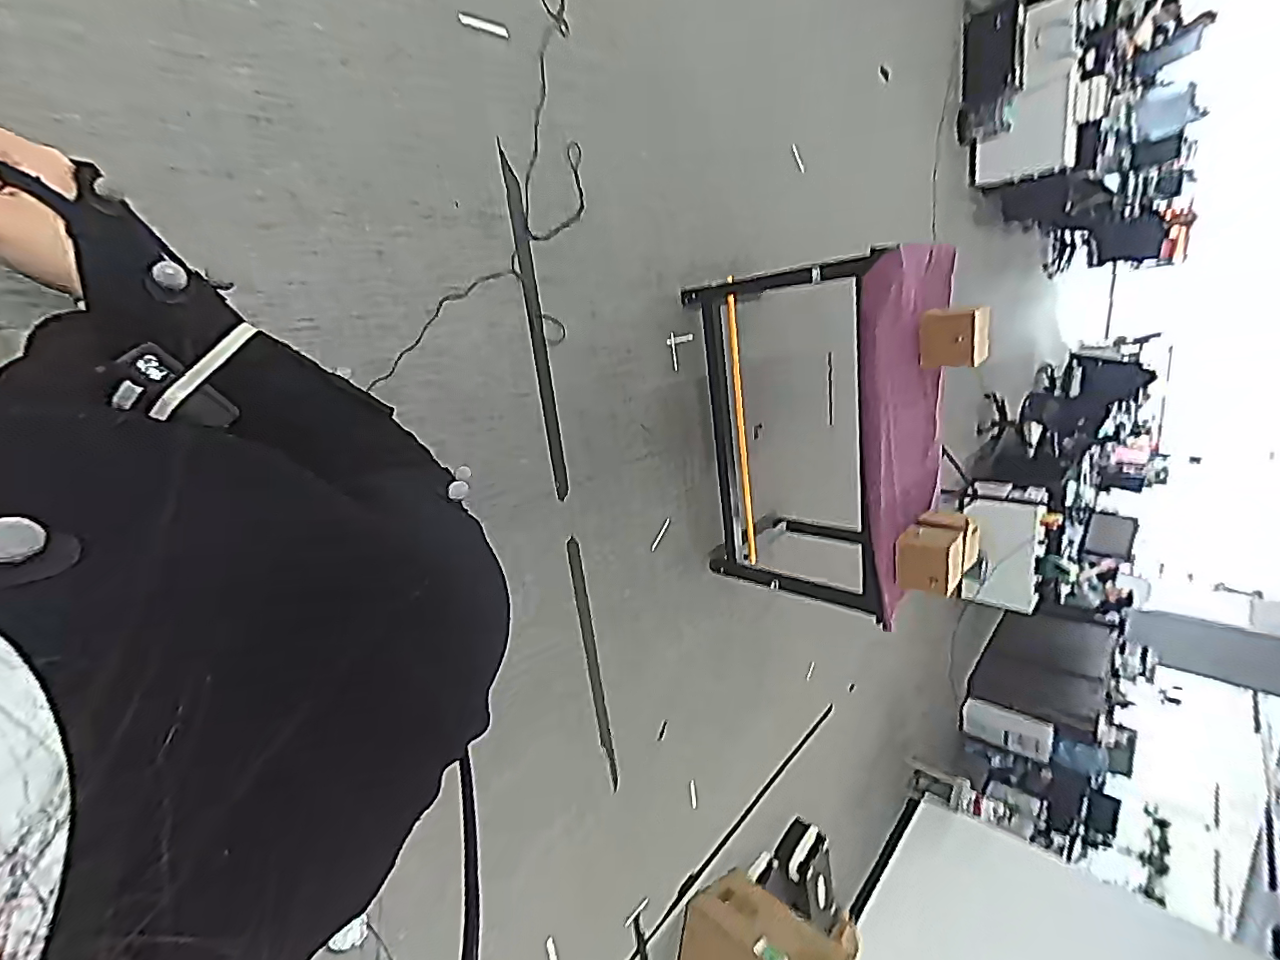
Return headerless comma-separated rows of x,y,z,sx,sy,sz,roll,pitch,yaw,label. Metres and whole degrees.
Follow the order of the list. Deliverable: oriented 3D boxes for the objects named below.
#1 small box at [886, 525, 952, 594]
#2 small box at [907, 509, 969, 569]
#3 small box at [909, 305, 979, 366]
0.969,0.270,1.885,0.168,0.176,0.179,-22,111,-44,small box
1.107,0.212,2.018,0.168,0.176,0.179,-15,107,-42,small box
1.024,-0.487,1.827,0.168,0.176,0.179,-27,115,-40,small box
